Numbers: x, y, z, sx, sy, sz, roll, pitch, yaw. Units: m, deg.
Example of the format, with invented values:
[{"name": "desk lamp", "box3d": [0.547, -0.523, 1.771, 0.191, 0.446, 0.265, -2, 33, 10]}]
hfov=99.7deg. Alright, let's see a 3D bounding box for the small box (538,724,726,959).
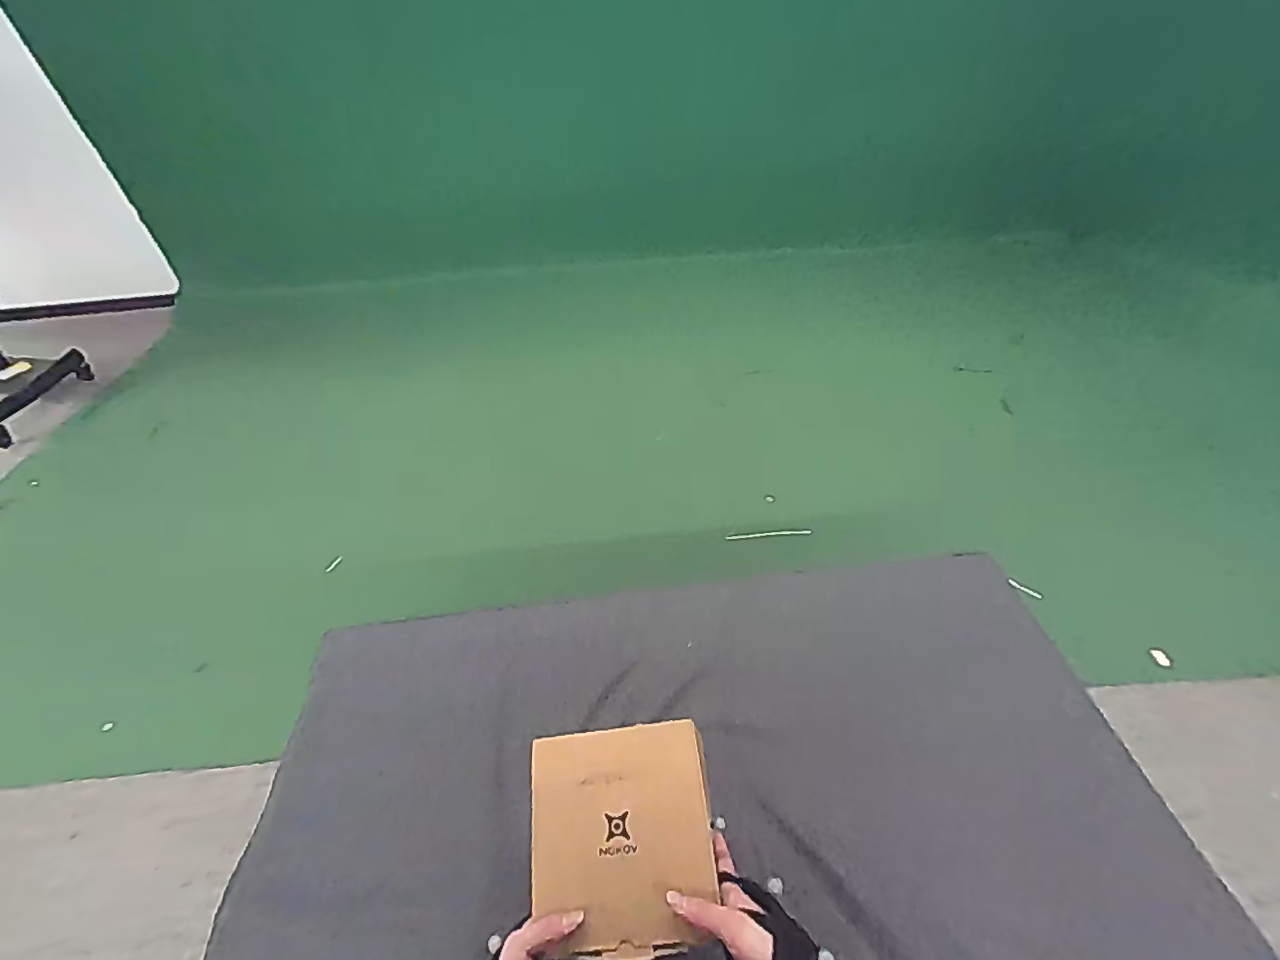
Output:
[{"name": "small box", "box3d": [-0.004, 0.368, 0.570, 0.168, 0.176, 0.179, -9, 58, 3]}]
